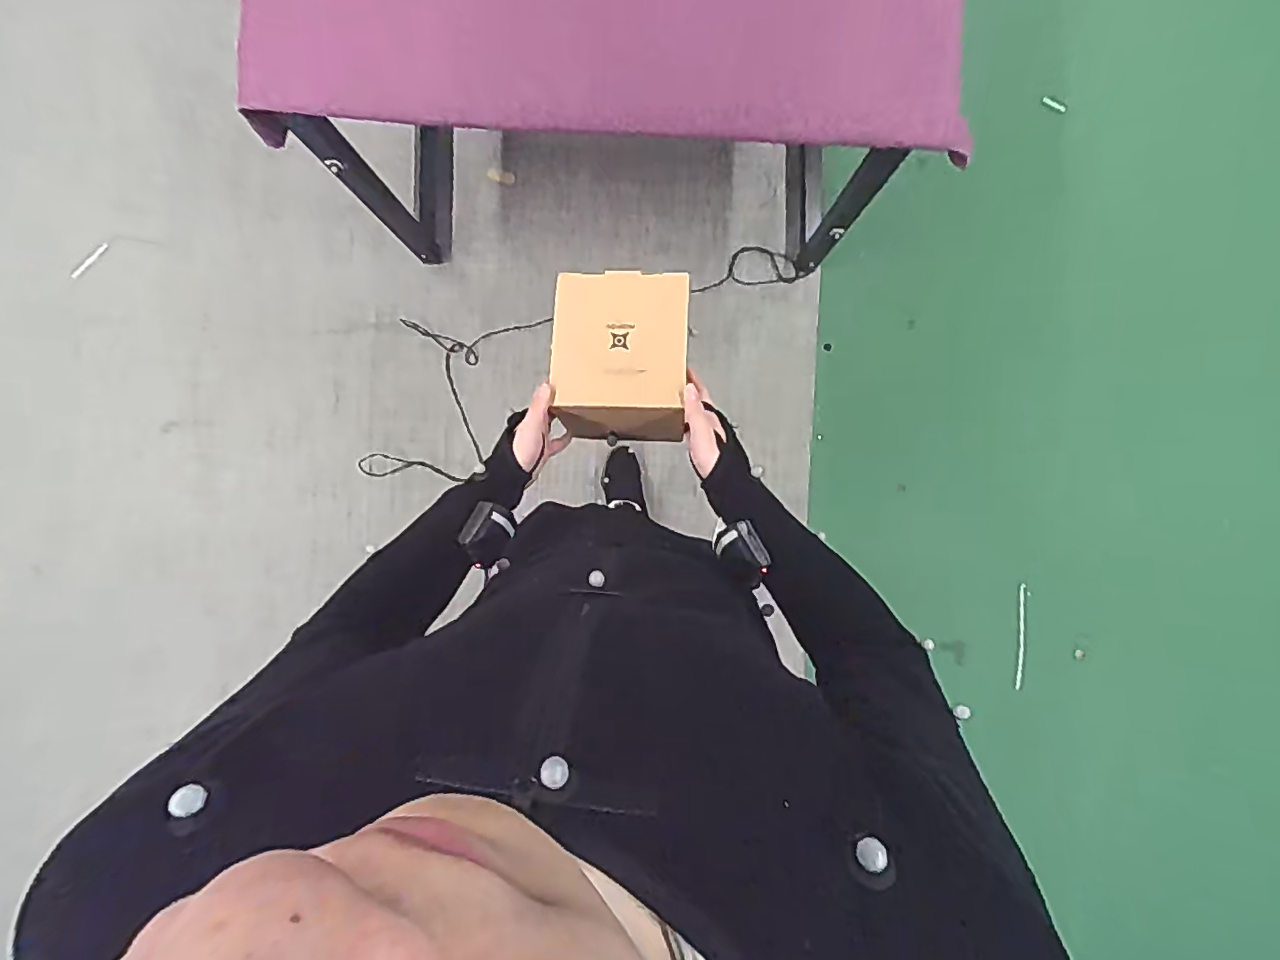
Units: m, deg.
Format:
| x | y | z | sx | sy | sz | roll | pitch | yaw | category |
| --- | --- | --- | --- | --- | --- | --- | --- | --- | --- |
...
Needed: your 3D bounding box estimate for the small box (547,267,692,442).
| x | y | z | sx | sy | sz | roll | pitch | yaw | category |
| --- | --- | --- | --- | --- | --- | --- | --- | --- | --- |
| -0.020 | -0.158 | 0.718 | 0.168 | 0.176 | 0.179 | 2 | 80 | 4 | small box |
